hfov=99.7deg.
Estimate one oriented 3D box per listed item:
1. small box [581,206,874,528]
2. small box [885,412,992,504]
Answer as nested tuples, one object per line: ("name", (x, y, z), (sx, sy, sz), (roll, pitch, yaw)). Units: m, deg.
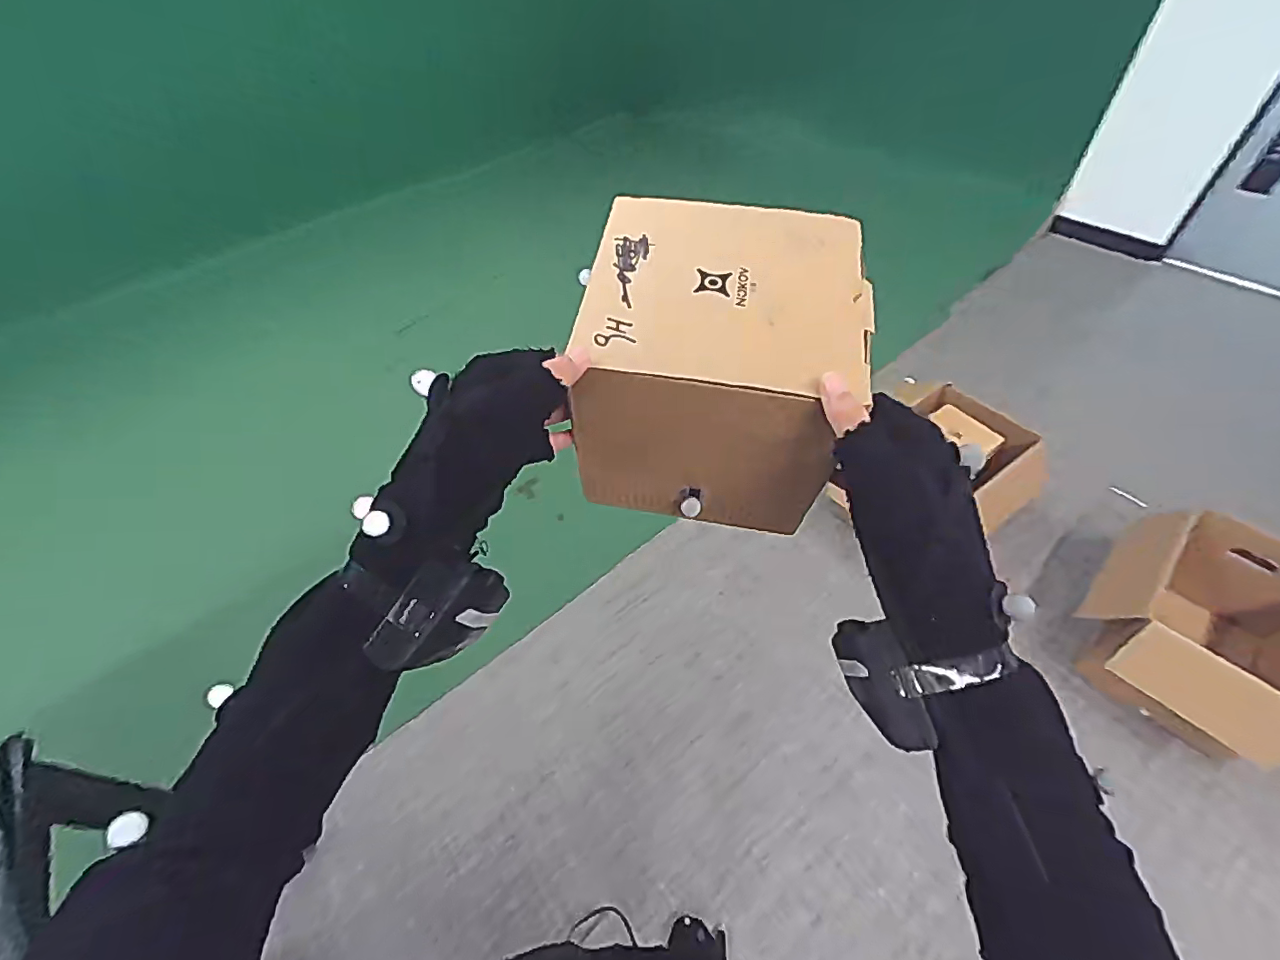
("small box", (0.061, -0.078, 0.423), (0.179, 0.176, 0.168), (10, 58, 4))
("small box", (0.837, -0.055, 1.532), (0.168, 0.176, 0.179), (-30, 55, -20))
